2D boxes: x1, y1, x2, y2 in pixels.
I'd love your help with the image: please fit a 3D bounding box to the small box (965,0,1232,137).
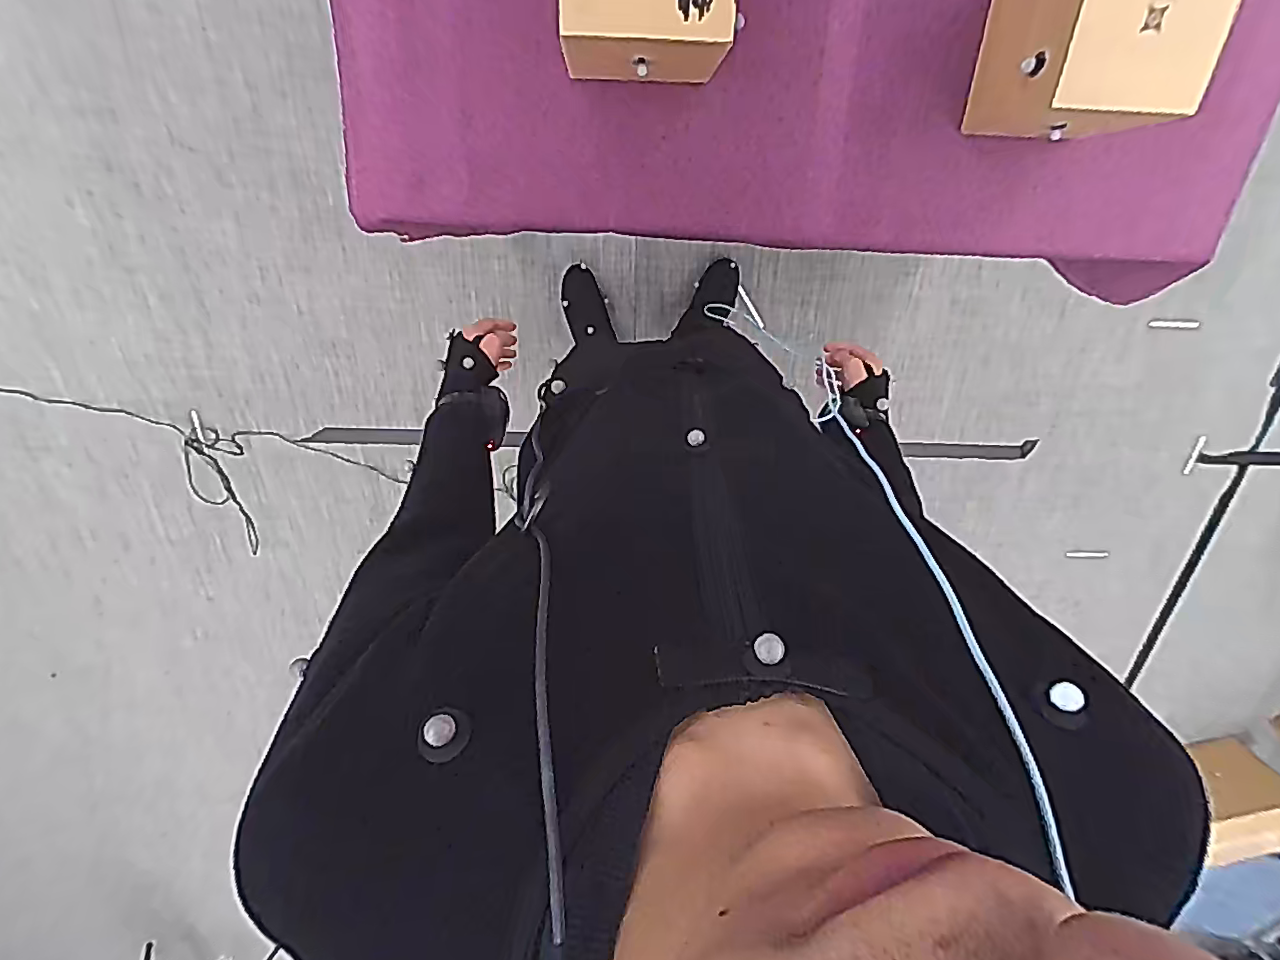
[{"bbox_3d":[0.516,-0.511,0.625,0.168,0.176,0.179,1,115,-4],"label":"small box"}]
